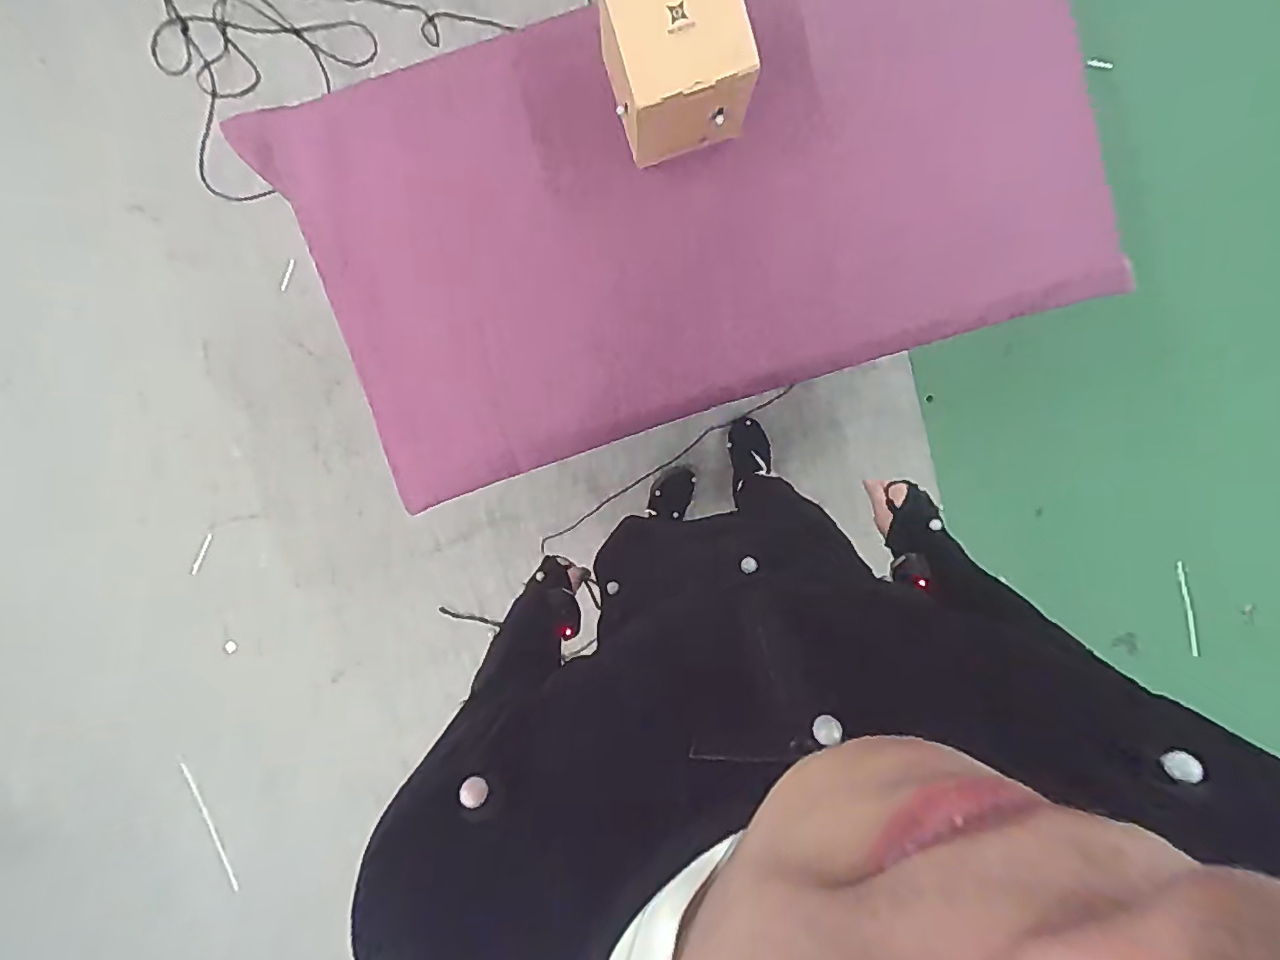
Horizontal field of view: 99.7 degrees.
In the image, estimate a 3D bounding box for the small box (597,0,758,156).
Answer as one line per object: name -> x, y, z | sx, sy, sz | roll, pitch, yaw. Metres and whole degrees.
small box -> 0.047, -0.581, 0.744 | 0.168, 0.176, 0.179 | -18, 96, 2
